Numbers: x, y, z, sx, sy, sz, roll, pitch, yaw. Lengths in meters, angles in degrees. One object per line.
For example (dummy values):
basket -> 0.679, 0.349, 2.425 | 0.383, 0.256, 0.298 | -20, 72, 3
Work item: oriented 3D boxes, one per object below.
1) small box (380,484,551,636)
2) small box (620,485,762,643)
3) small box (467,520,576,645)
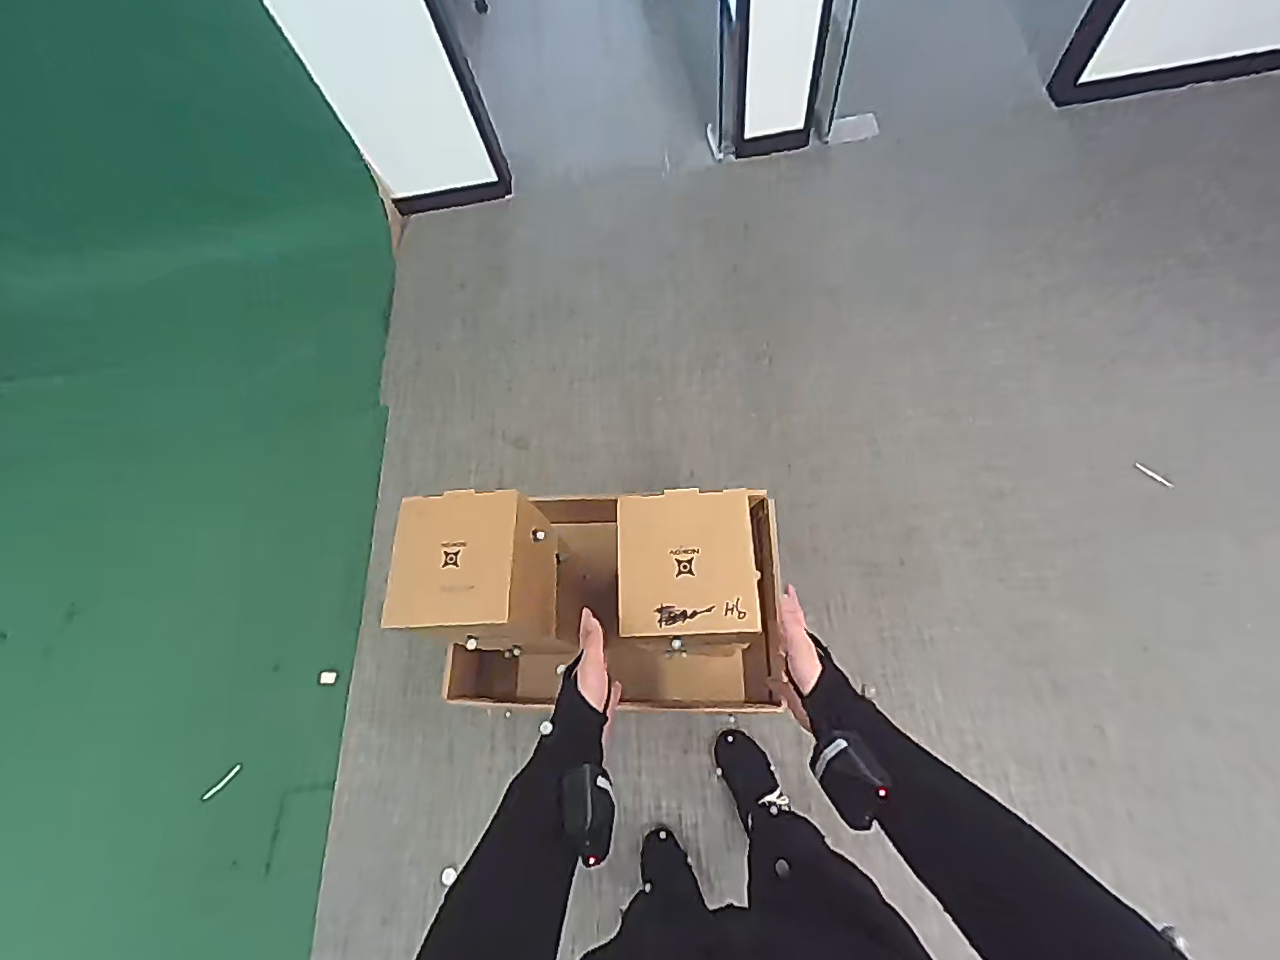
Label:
small box -> -0.228, 0.119, 0.759 | 0.168, 0.176, 0.179 | -3, 68, 7
small box -> 0.065, 0.118, 0.721 | 0.168, 0.176, 0.179 | -4, 69, 6
small box -> -0.208, 0.178, 0.909 | 0.168, 0.176, 0.179 | -4, 68, 7
